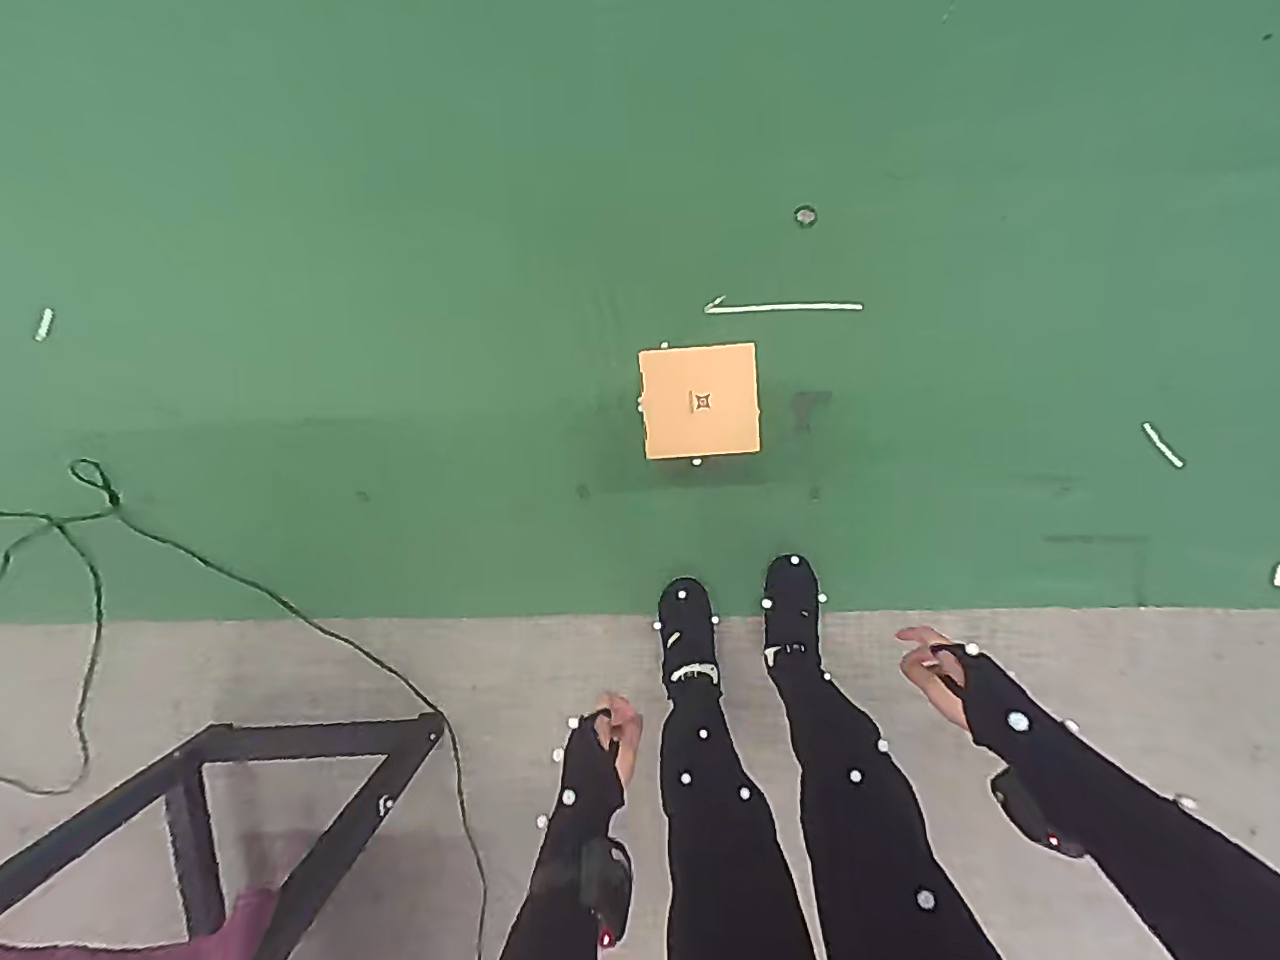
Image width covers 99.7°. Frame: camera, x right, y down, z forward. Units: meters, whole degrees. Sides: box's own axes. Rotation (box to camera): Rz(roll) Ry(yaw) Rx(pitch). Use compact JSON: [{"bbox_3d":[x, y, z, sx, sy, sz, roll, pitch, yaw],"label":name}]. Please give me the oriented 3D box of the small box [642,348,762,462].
[{"bbox_3d":[0.100,-0.122,0.899,0.179,0.176,0.168,-4,96,6],"label":"small box"}]
